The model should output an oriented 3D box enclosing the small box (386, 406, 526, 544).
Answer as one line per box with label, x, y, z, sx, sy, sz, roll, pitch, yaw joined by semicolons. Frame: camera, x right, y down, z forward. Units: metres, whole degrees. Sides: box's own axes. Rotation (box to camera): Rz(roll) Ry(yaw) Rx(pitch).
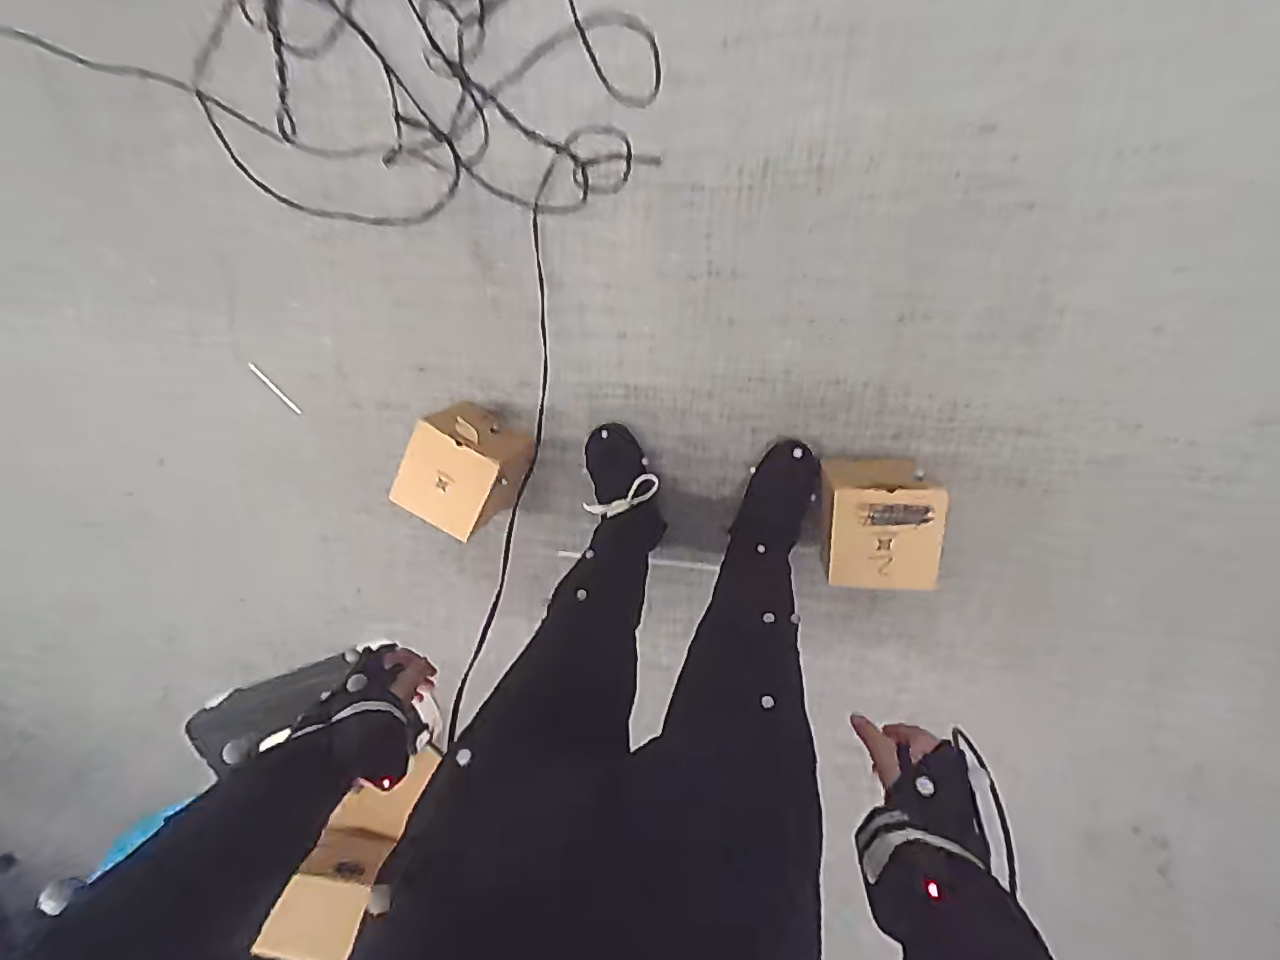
small box;-0.338;-0.017;1.021;0.168;0.176;0.179;29;111;0
